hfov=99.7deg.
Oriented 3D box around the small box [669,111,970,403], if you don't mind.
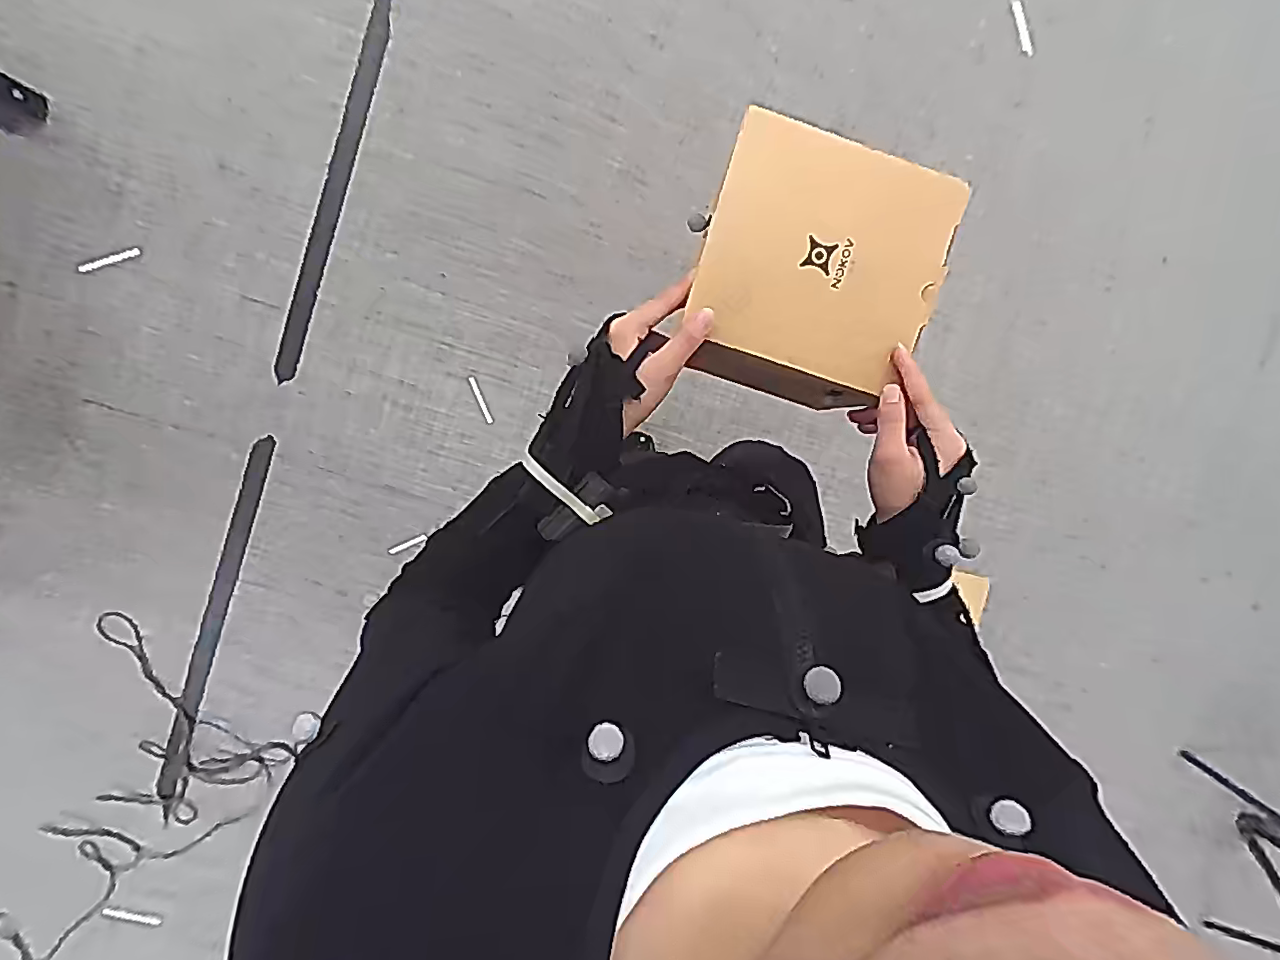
[{"bbox_3d":[0.131,-0.168,0.472,0.179,0.176,0.168,16,95,-4],"label":"small box"}]
